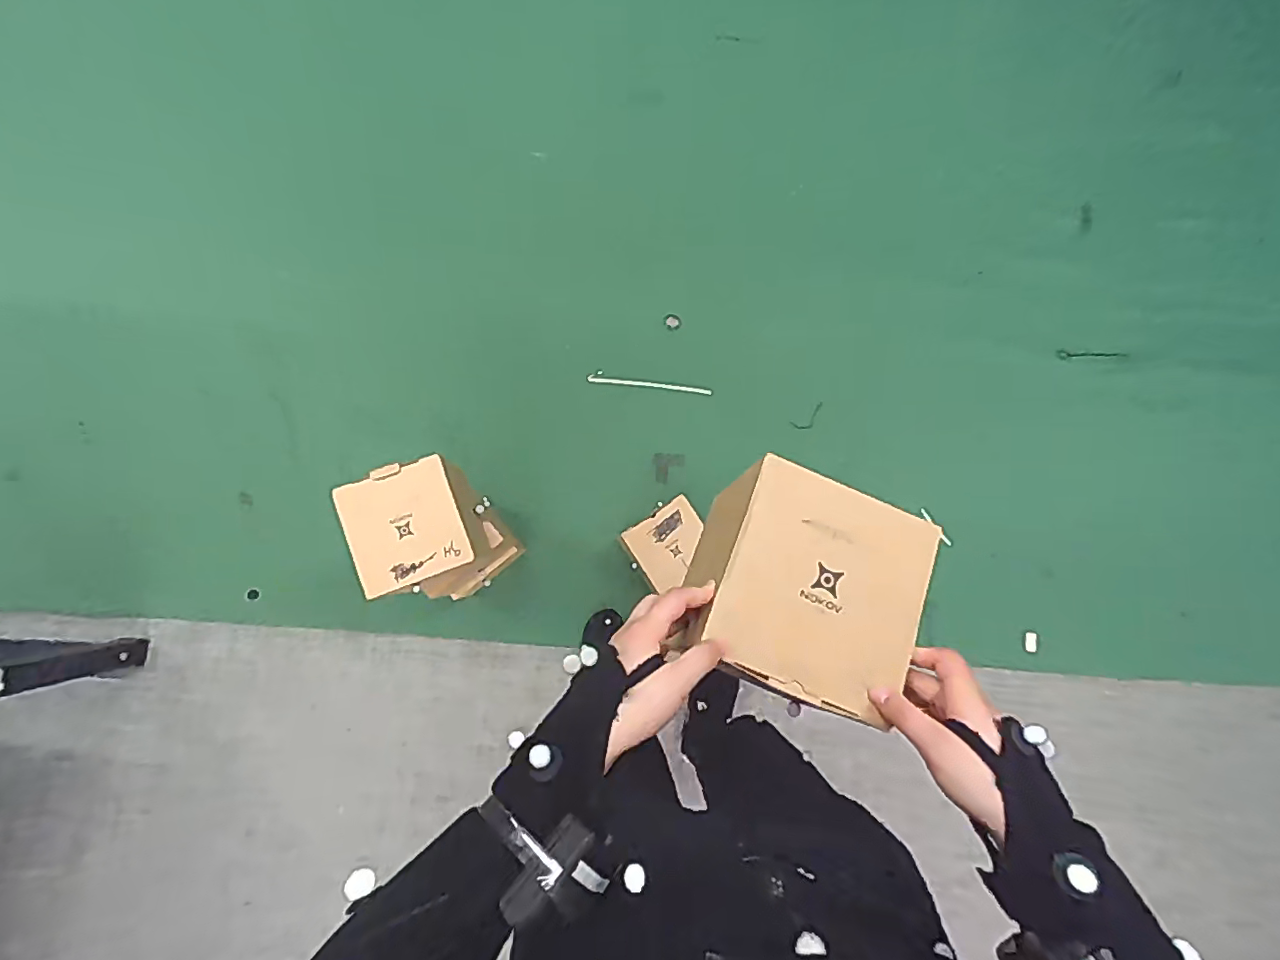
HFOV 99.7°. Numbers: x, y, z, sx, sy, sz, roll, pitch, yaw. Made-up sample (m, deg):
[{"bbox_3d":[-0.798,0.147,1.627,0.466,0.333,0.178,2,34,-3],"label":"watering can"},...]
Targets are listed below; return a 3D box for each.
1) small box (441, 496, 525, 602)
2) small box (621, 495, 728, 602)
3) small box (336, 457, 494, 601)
[{"bbox_3d":[-0.376,0.145,1.201,0.168,0.176,0.179,-40,87,-9],"label":"small box"},{"bbox_3d":[0.069,0.157,1.237,0.168,0.176,0.179,-33,87,-9],"label":"small box"},{"bbox_3d":[-0.353,0.082,0.878,0.168,0.176,0.179,-20,84,-7],"label":"small box"}]
